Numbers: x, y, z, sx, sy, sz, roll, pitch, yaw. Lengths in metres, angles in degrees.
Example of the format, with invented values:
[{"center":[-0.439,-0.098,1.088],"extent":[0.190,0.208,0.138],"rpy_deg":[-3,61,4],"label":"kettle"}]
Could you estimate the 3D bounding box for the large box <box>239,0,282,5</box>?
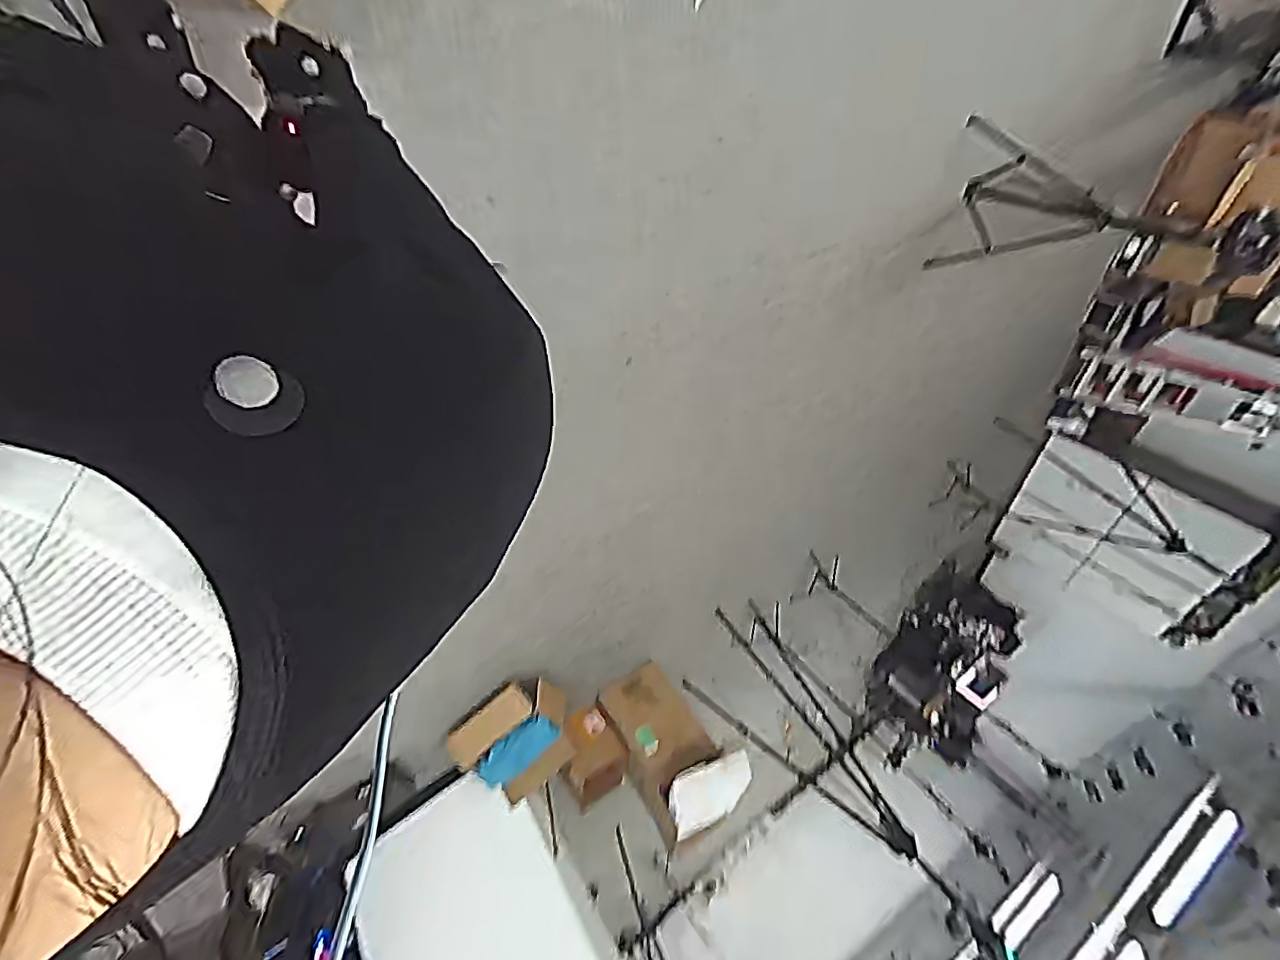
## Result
[{"center":[-0.617,-0.930,0.685],"extent":[0.320,0.320,0.408],"rpy_deg":[-51,142,6],"label":"large box"}]
